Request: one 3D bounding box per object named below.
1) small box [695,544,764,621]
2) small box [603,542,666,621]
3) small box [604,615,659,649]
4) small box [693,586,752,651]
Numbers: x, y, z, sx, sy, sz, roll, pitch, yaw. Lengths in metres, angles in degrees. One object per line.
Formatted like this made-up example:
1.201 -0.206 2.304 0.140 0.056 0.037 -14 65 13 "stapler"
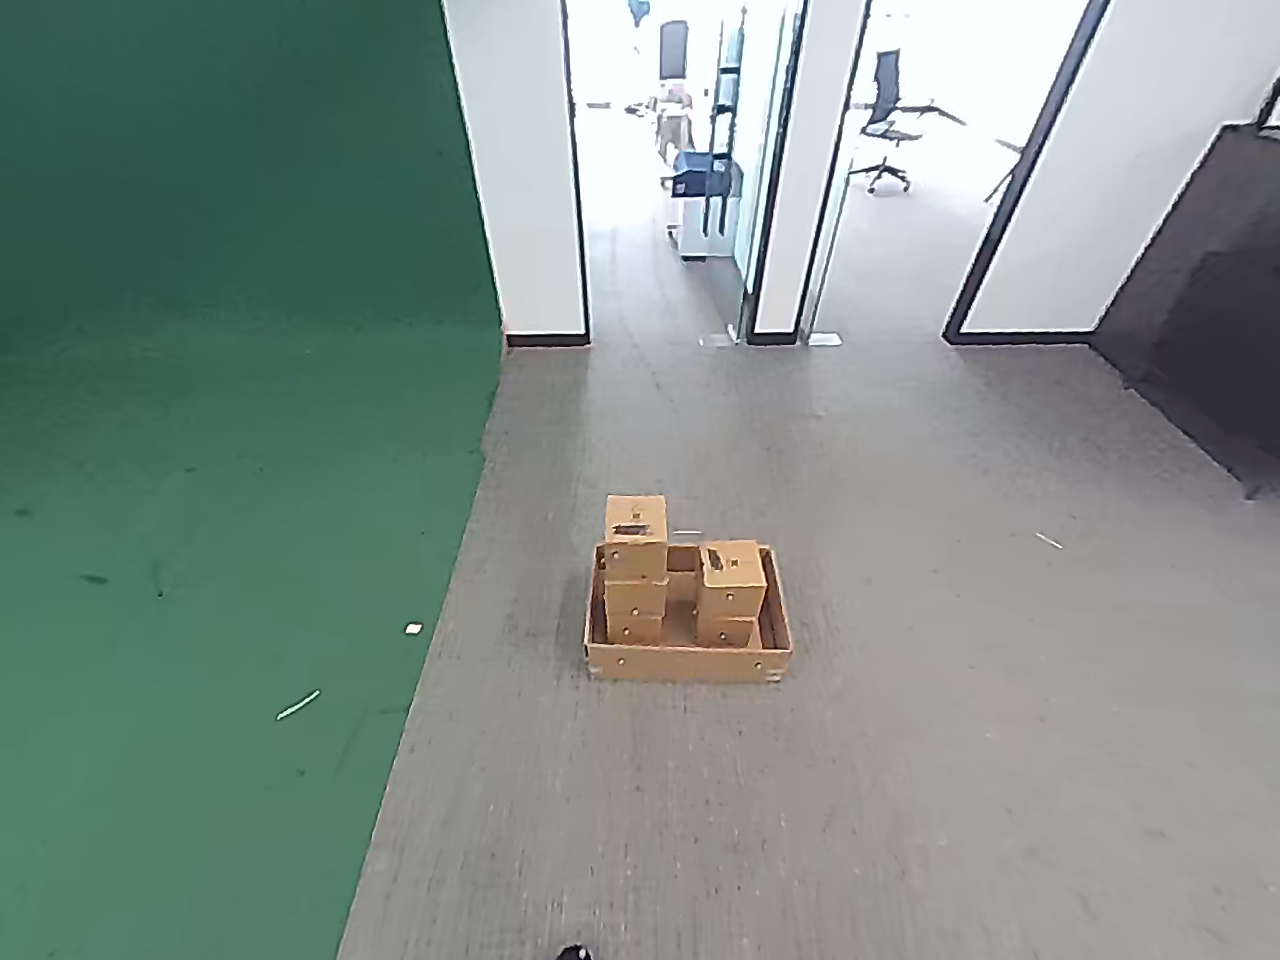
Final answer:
0.258 0.307 1.607 0.179 0.176 0.168 -1 44 -2 "small box"
-0.018 0.304 1.608 0.179 0.176 0.168 1 42 -1 "small box"
-0.024 0.421 1.723 0.168 0.176 0.179 2 42 0 "small box"
0.258 0.427 1.722 0.168 0.176 0.179 1 43 2 "small box"
